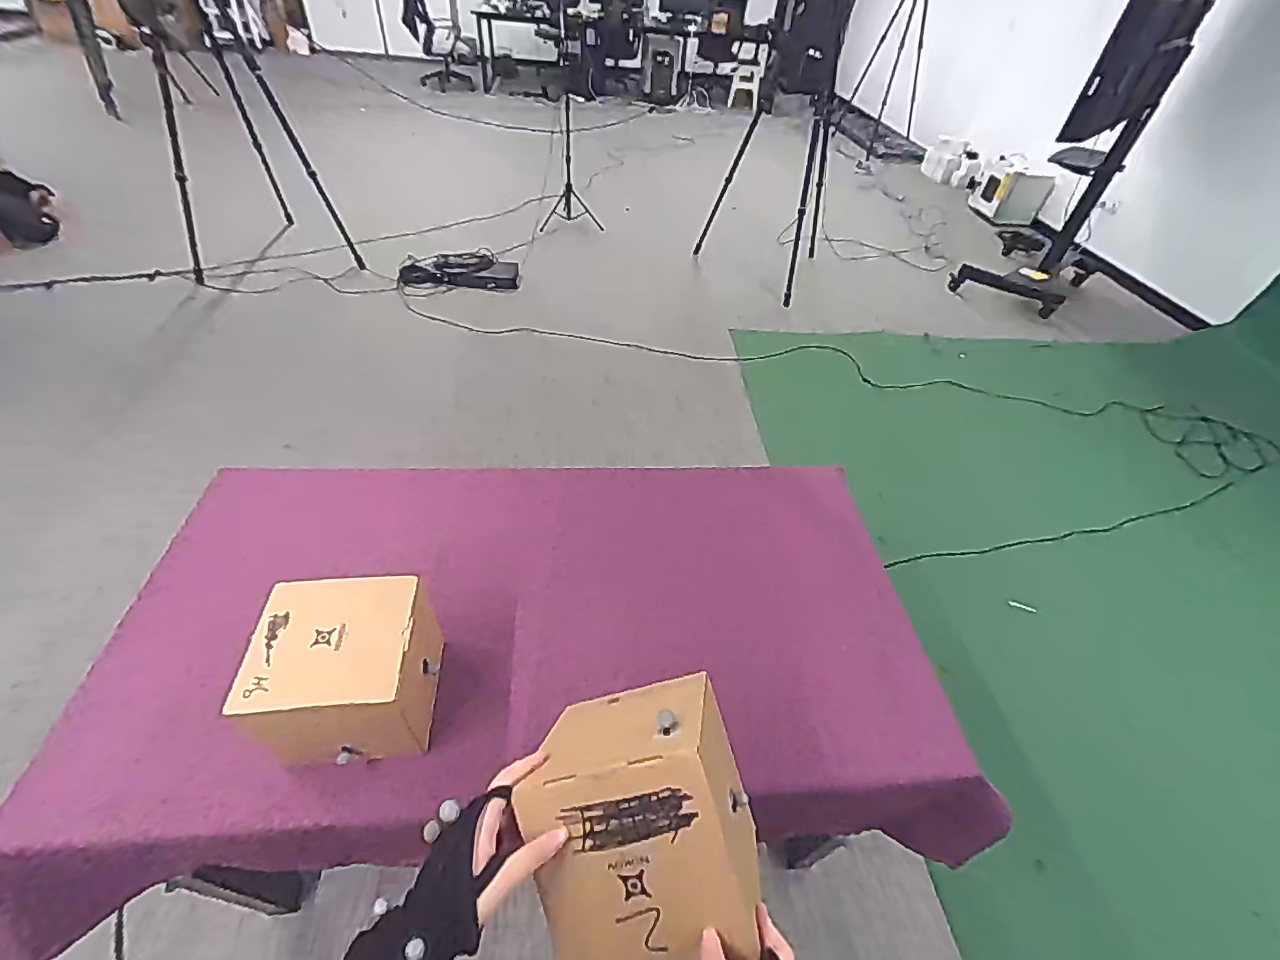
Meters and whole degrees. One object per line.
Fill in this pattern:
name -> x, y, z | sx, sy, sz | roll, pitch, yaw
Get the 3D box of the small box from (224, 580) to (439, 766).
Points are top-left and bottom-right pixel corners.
small box -> -0.364, 0.244, 0.685 | 0.179, 0.176, 0.168 | -1, 45, -9
